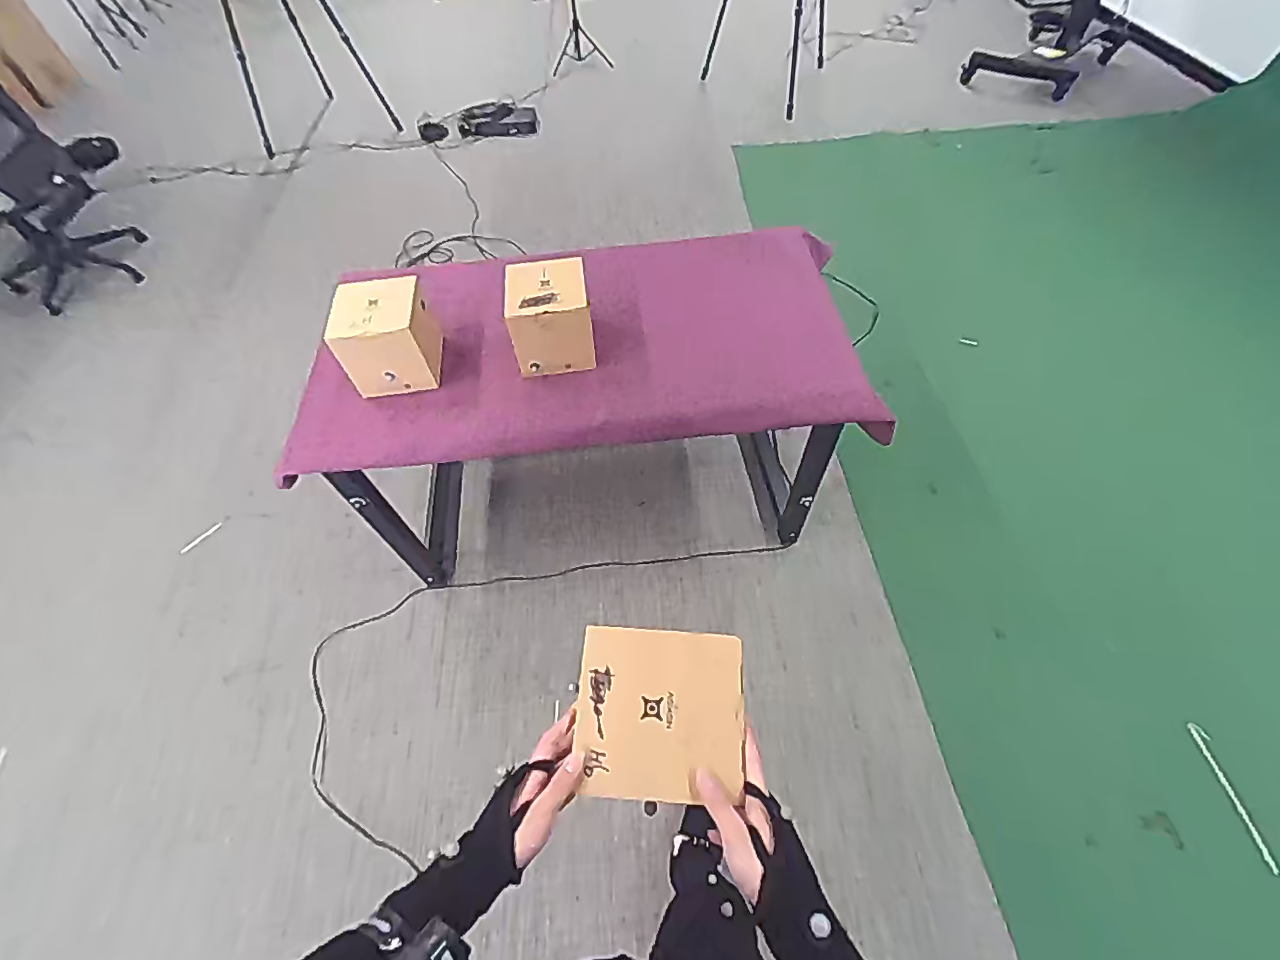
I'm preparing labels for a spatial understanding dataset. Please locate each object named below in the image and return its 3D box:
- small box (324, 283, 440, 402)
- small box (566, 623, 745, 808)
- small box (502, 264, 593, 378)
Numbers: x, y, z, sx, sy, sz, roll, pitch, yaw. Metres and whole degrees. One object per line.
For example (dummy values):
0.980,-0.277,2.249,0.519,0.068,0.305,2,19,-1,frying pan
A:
-0.541,-0.292,1.162,0.168,0.176,0.179,-8,56,-3,small box
0.018,0.275,0.630,0.179,0.176,0.168,5,61,1,small box
-0.197,-0.338,1.178,0.168,0.176,0.179,-7,55,-2,small box
